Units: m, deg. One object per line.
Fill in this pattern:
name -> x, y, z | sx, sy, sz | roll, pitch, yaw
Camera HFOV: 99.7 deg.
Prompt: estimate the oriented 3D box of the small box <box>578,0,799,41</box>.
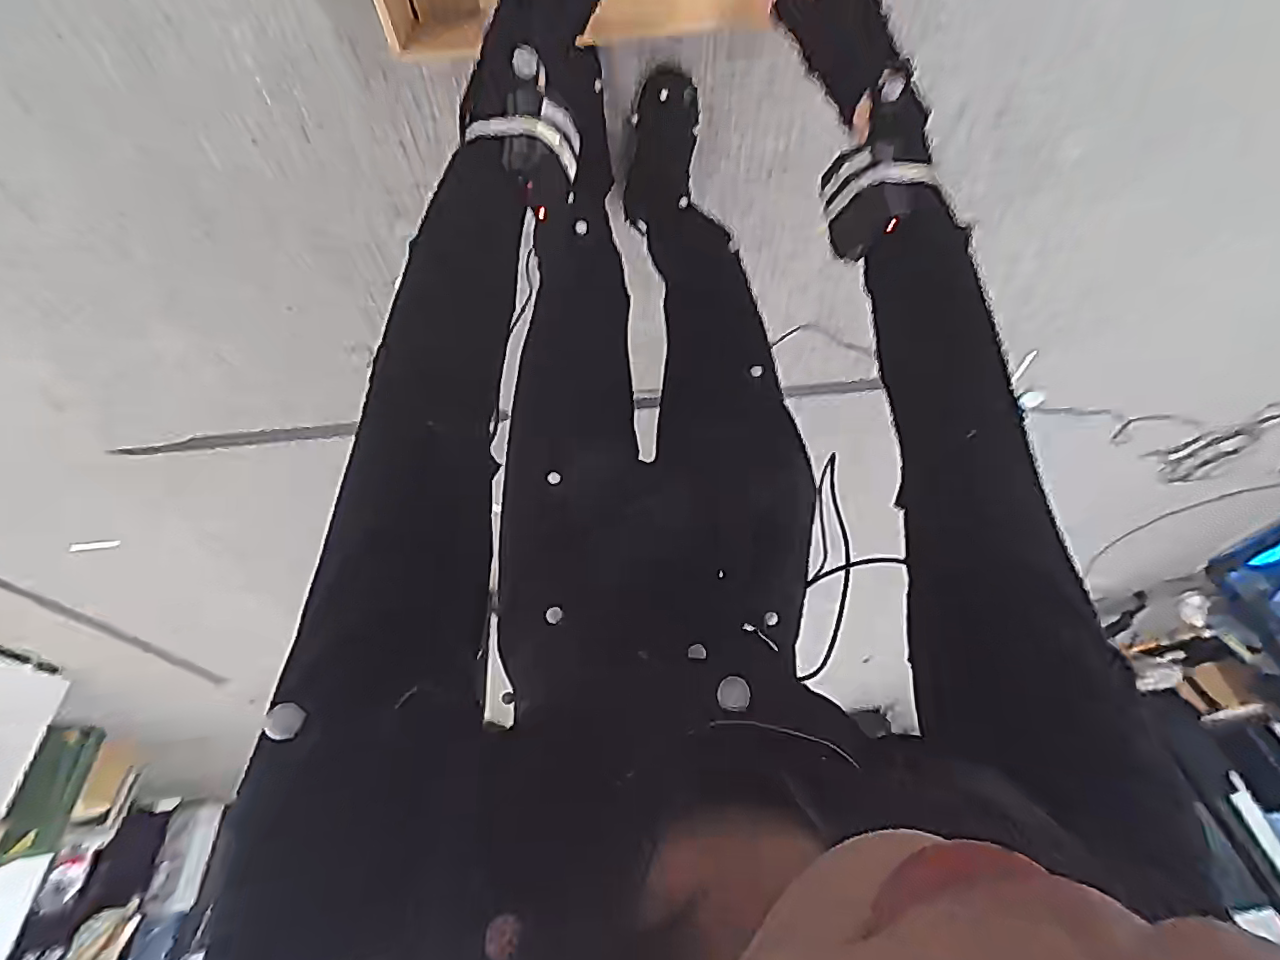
small box -> 0.042, -0.477, 0.429 | 0.179, 0.176, 0.168 | 3, 141, -1
